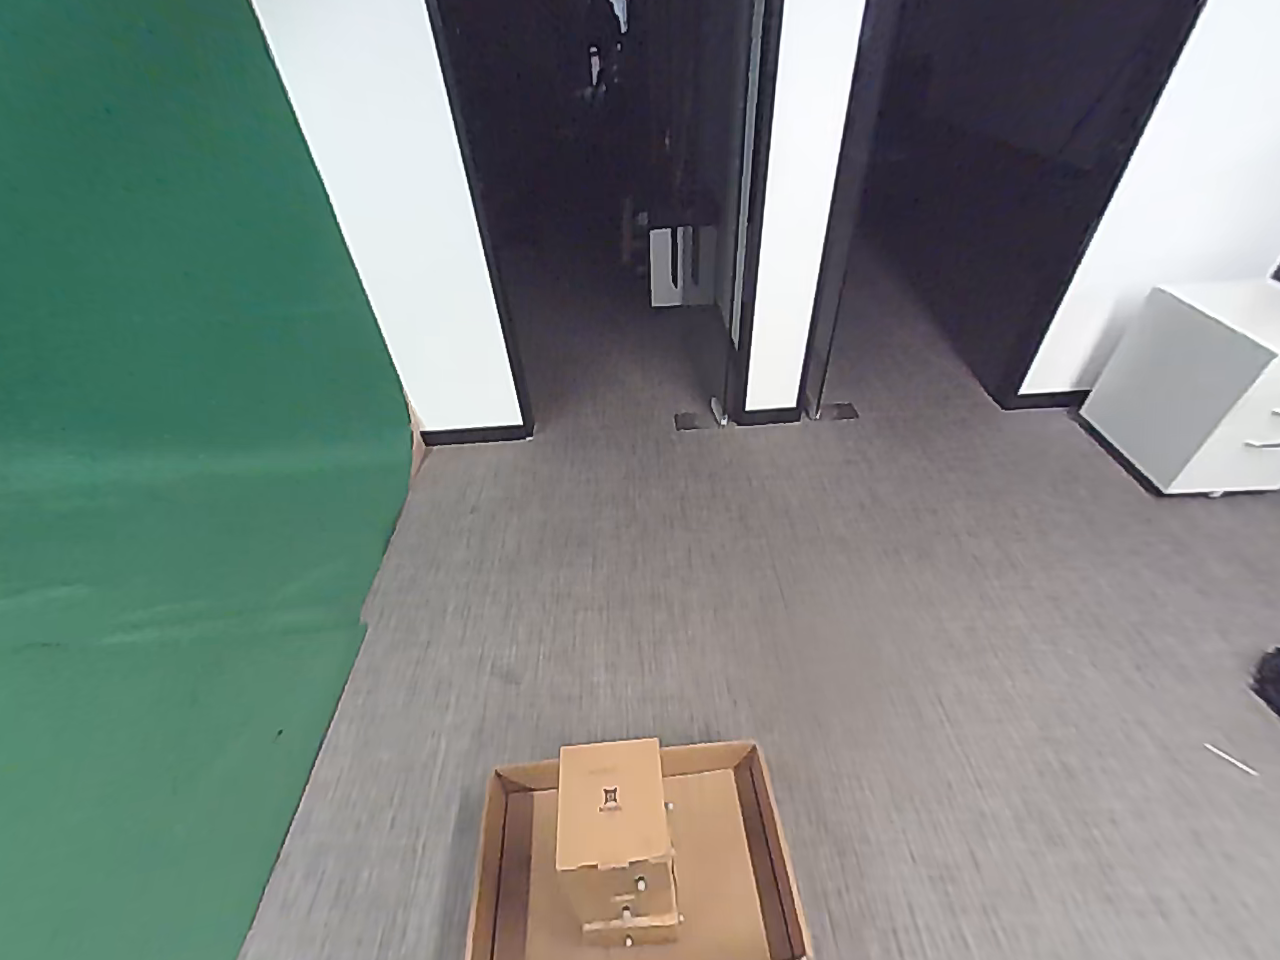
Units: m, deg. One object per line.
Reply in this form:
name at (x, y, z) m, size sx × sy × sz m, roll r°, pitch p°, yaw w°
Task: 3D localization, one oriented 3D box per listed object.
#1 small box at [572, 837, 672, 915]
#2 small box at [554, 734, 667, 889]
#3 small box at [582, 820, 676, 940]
small box at (-0.034, 0.688, 1.015) m, size 0.168 × 0.176 × 0.179 m, roll -7°, pitch 40°, yaw -2°
small box at (-0.044, 0.551, 0.895) m, size 0.168 × 0.176 × 0.179 m, roll -4°, pitch 40°, yaw -2°
small box at (-0.018, 0.819, 1.106) m, size 0.179 × 0.176 × 0.168 m, roll -4°, pitch 40°, yaw 2°
